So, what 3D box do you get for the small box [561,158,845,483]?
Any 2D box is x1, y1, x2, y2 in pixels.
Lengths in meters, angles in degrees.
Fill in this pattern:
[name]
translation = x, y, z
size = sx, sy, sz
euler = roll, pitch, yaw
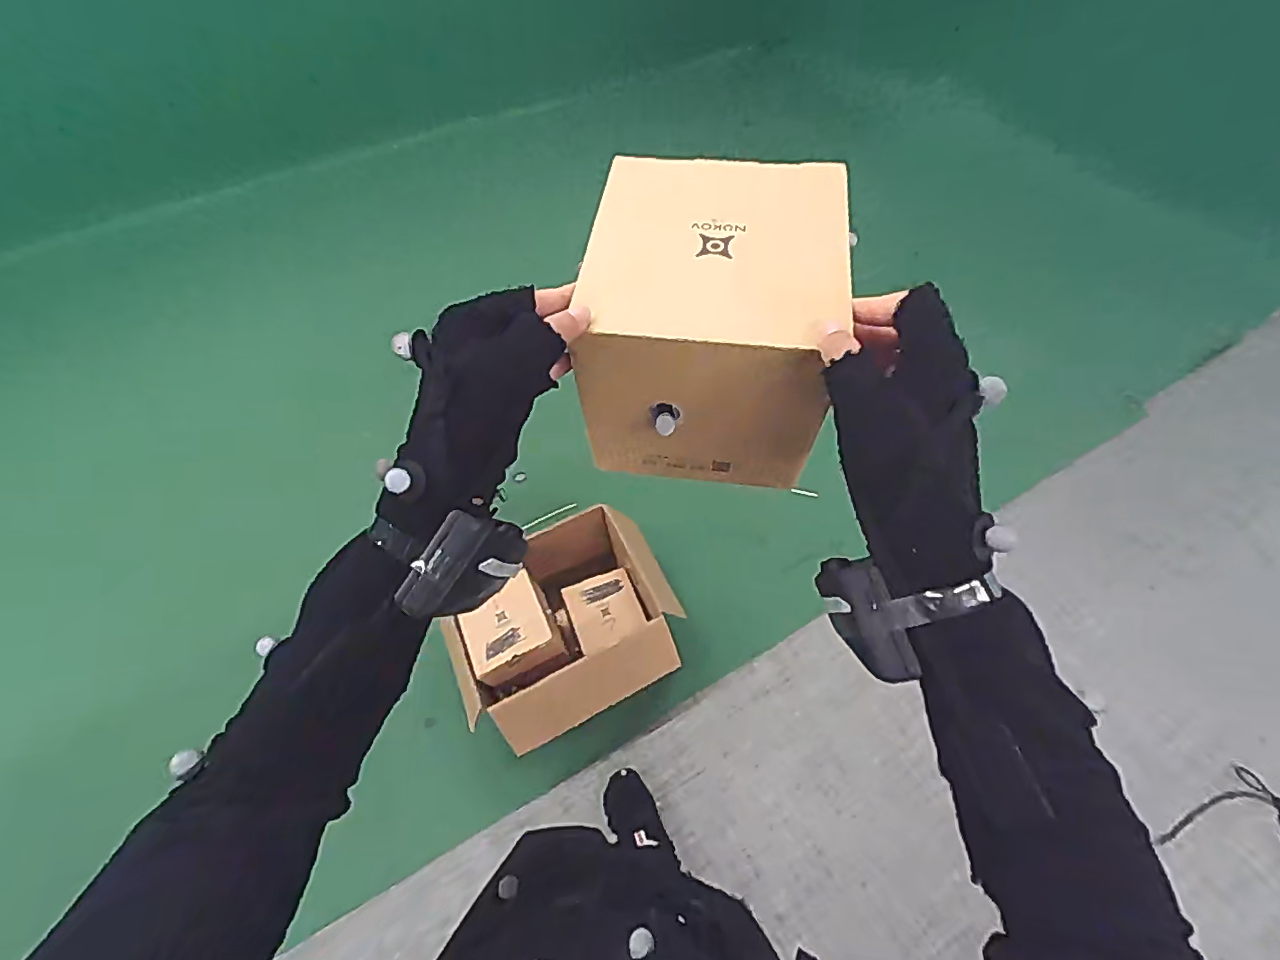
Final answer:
[small box]
translation = 0.050, -0.113, 0.414
size = 0.168, 0.176, 0.179
euler = 5, 61, 7
